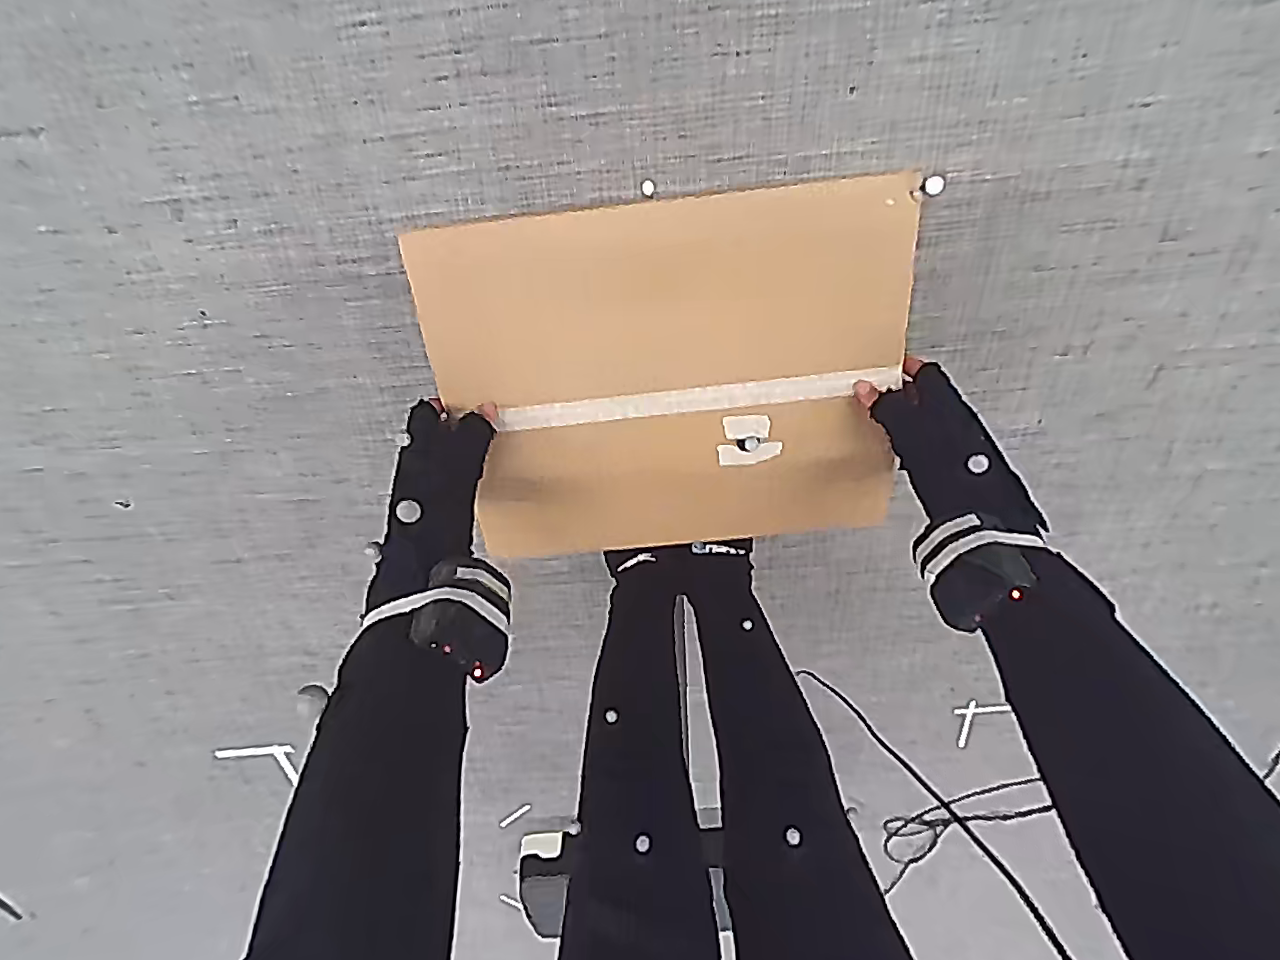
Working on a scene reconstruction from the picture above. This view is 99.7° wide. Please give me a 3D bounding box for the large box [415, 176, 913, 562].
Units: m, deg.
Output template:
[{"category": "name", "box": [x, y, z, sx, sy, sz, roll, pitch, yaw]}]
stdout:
[{"category": "large box", "box": [0.030, -0.139, 0.622, 0.408, 0.320, 0.320, -7, 118, 3]}]
